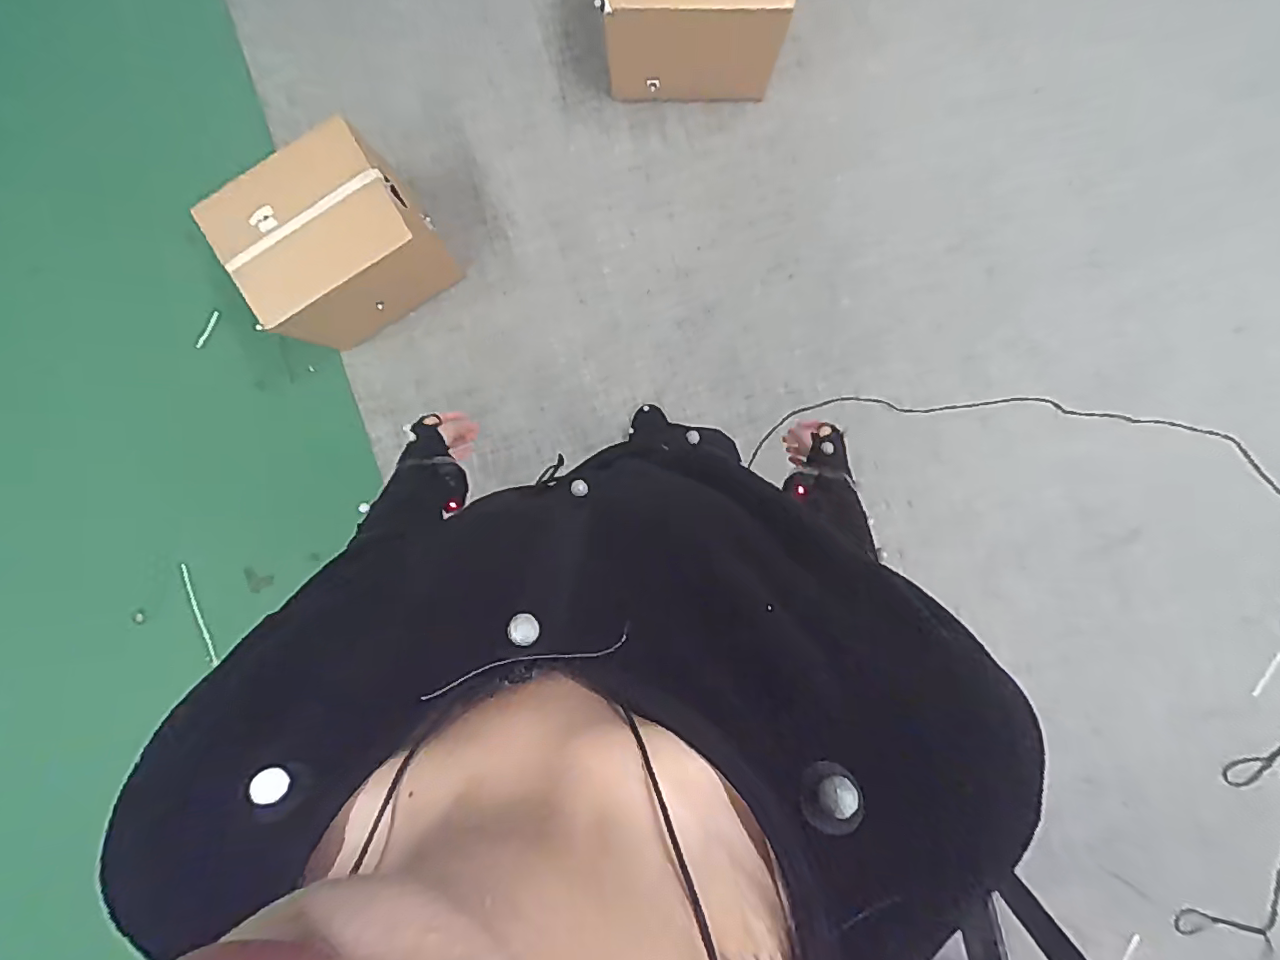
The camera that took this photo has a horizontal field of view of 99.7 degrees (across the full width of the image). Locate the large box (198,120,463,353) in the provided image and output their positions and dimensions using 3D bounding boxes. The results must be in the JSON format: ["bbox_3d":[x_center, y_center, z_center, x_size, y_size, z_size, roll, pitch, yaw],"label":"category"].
[{"bbox_3d":[-0.731,-0.565,1.339,0.408,0.320,0.320,-30,92,5],"label":"large box"}]
